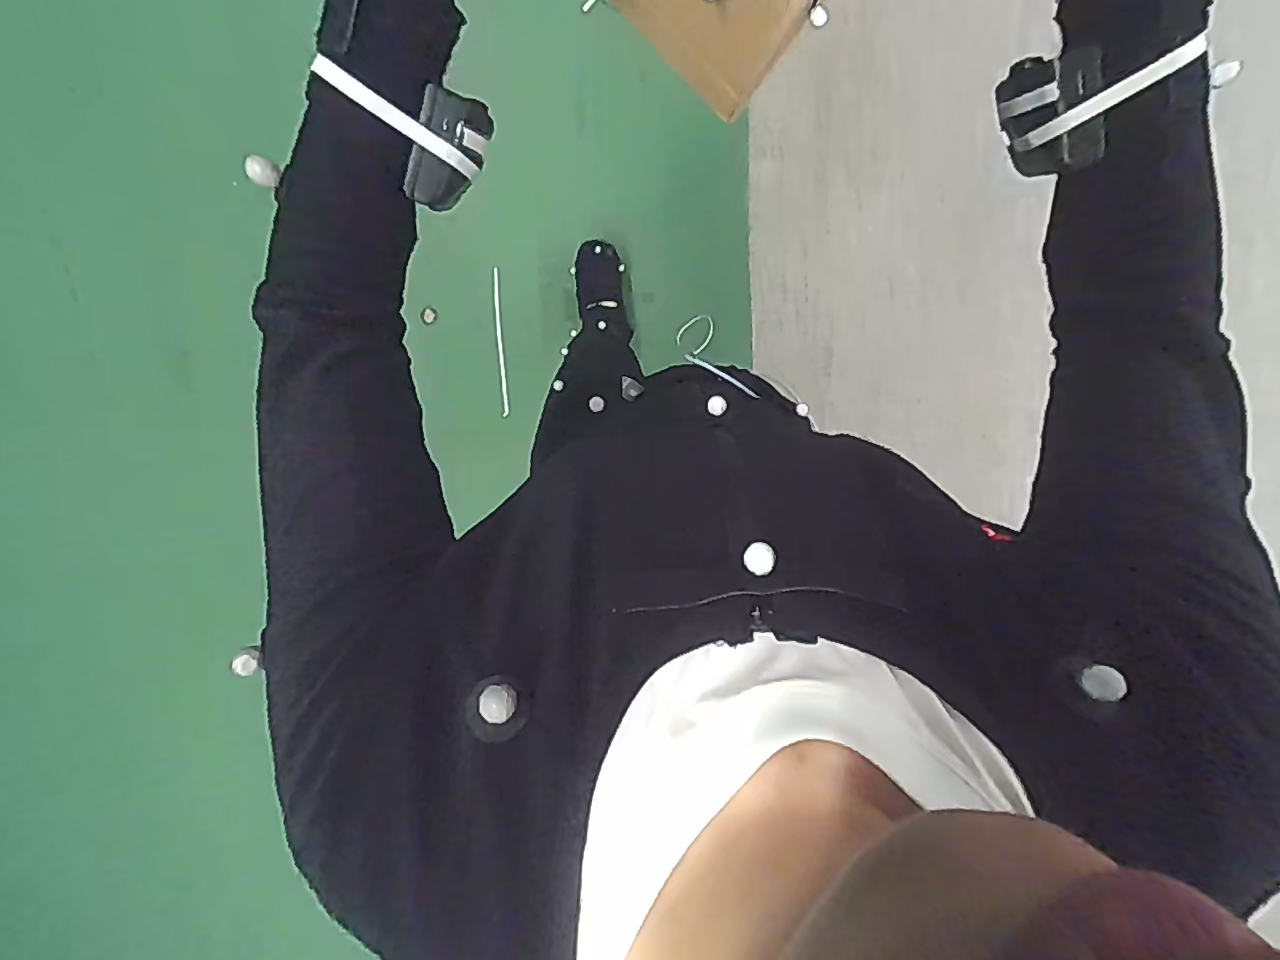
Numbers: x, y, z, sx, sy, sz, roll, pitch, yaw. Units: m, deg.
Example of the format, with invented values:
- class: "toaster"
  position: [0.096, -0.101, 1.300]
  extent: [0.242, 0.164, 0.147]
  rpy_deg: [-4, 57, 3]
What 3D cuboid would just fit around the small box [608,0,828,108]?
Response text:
- class: "small box"
  position: [0.060, -0.384, 0.332]
  extent: [0.179, 0.176, 0.168]
  rpy_deg: [40, 99, -12]
